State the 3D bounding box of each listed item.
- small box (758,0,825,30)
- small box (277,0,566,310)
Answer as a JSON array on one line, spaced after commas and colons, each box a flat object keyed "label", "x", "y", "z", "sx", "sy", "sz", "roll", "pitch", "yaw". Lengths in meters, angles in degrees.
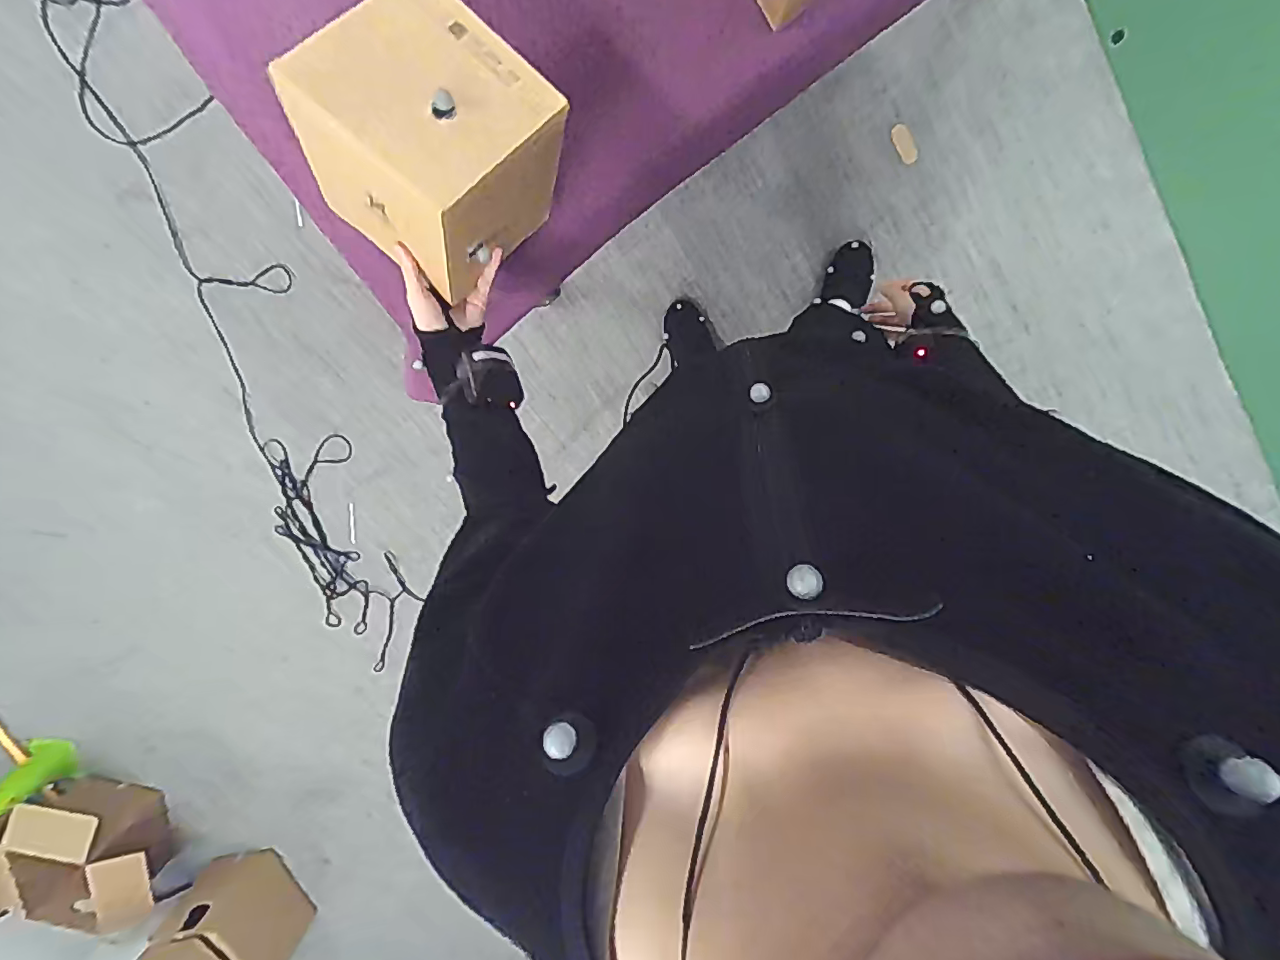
[{"label": "small box", "x": 0.167, "y": -0.566, "z": 0.482, "sx": 0.179, "sy": 0.176, "sz": 0.168, "roll": -32, "pitch": 103, "yaw": 15}, {"label": "small box", "x": -0.190, "y": -0.309, "z": 0.522, "sx": 0.168, "sy": 0.179, "sz": 0.176, "roll": 39, "pitch": 76, "yaw": -7}]
